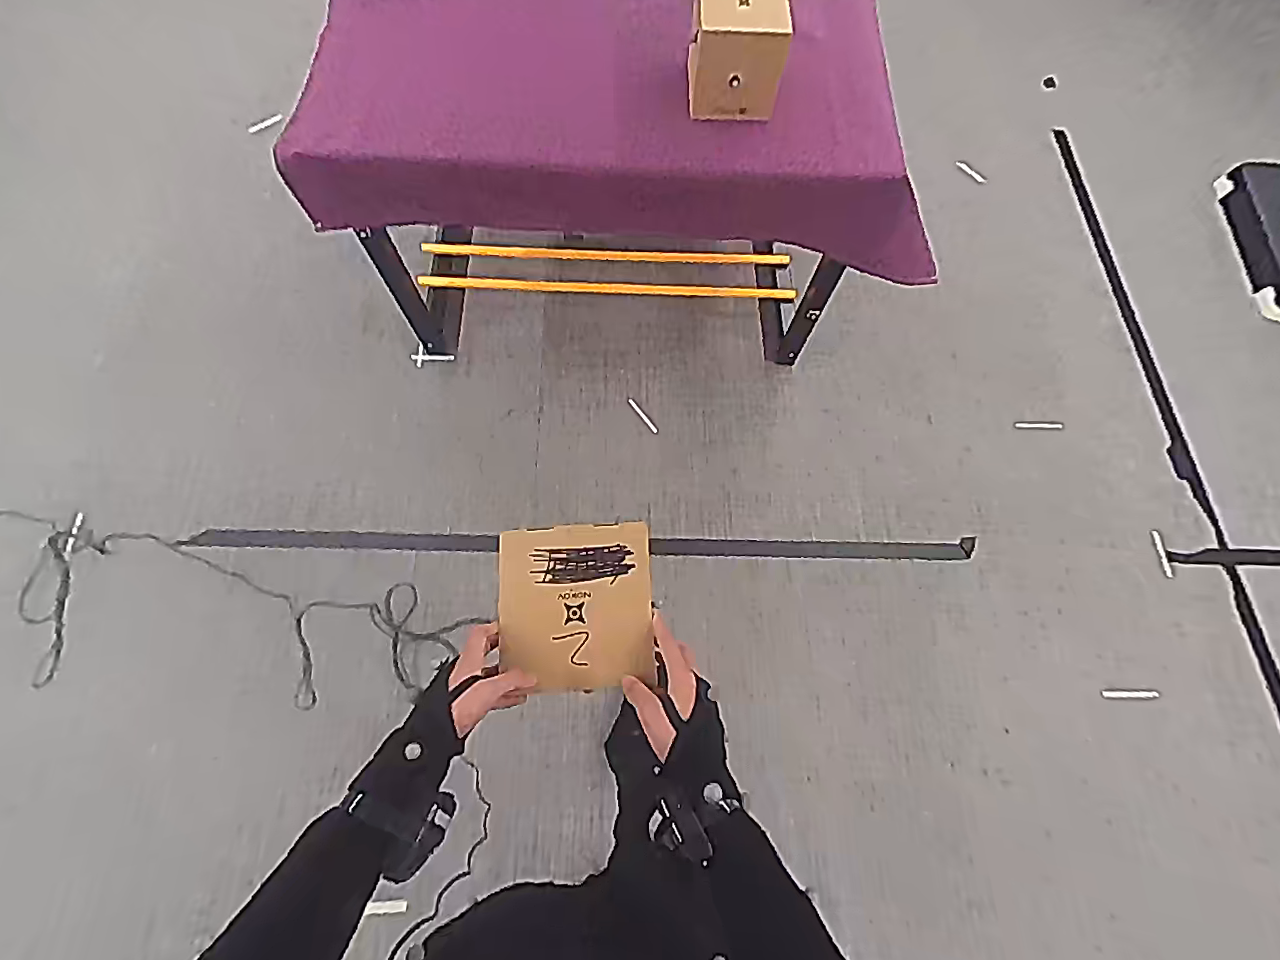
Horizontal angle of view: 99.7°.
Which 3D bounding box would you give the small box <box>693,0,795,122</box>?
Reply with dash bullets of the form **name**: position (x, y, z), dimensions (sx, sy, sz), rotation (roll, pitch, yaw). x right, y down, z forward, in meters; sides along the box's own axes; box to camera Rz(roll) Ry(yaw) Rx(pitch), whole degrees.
- **small box**: position (0.196, -0.843, 1.066), dimensions (0.168, 0.176, 0.179), rotation (1, 70, -2)
